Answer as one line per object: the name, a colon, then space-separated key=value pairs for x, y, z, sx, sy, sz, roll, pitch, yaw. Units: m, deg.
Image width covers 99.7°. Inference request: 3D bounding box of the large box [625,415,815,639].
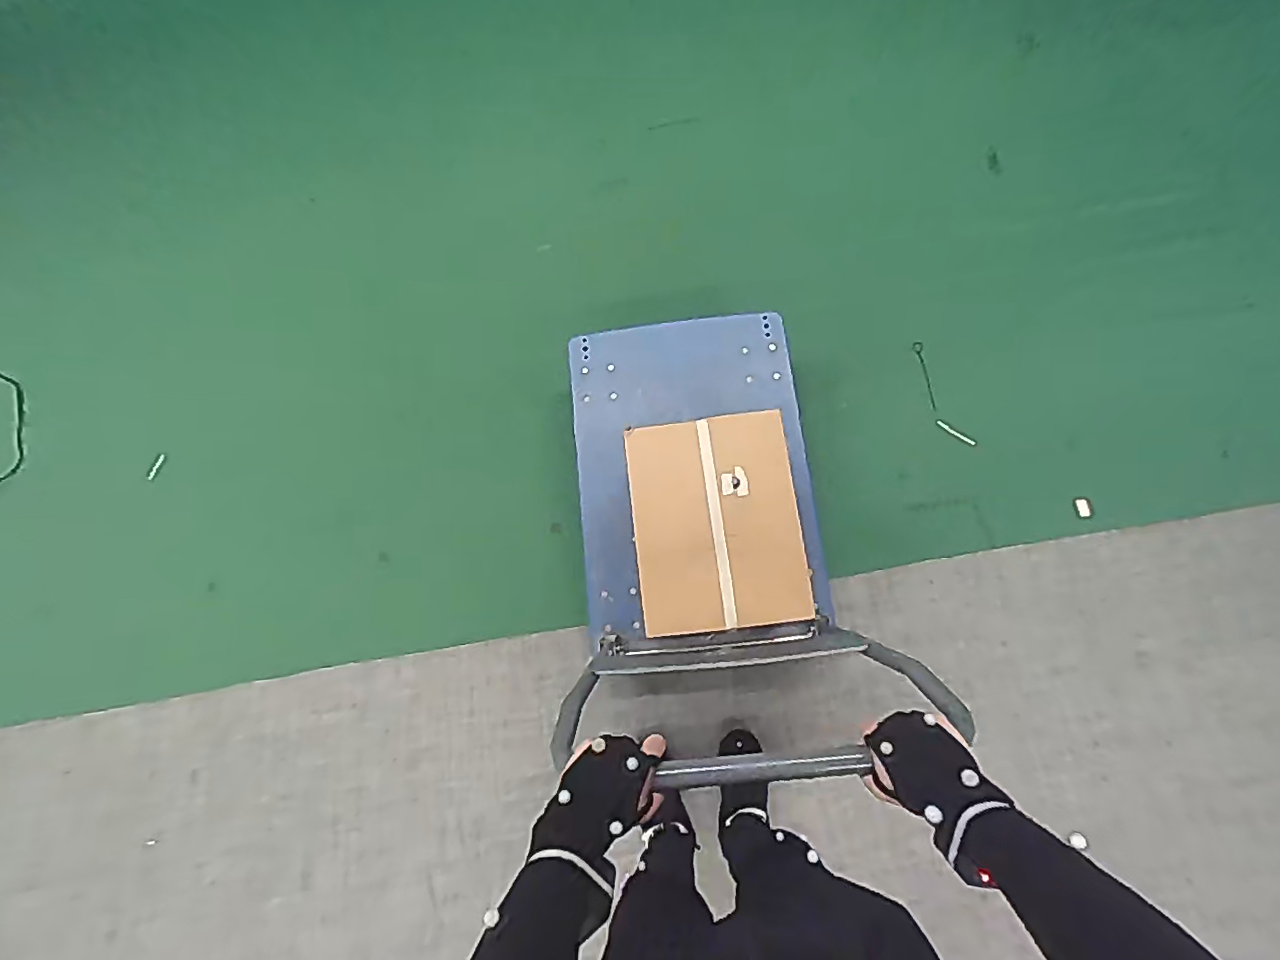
large box: x=0.157 y=0.114 z=1.174 sx=0.320 sy=0.320 sz=0.408 roll=-7 pitch=77 yaw=2
